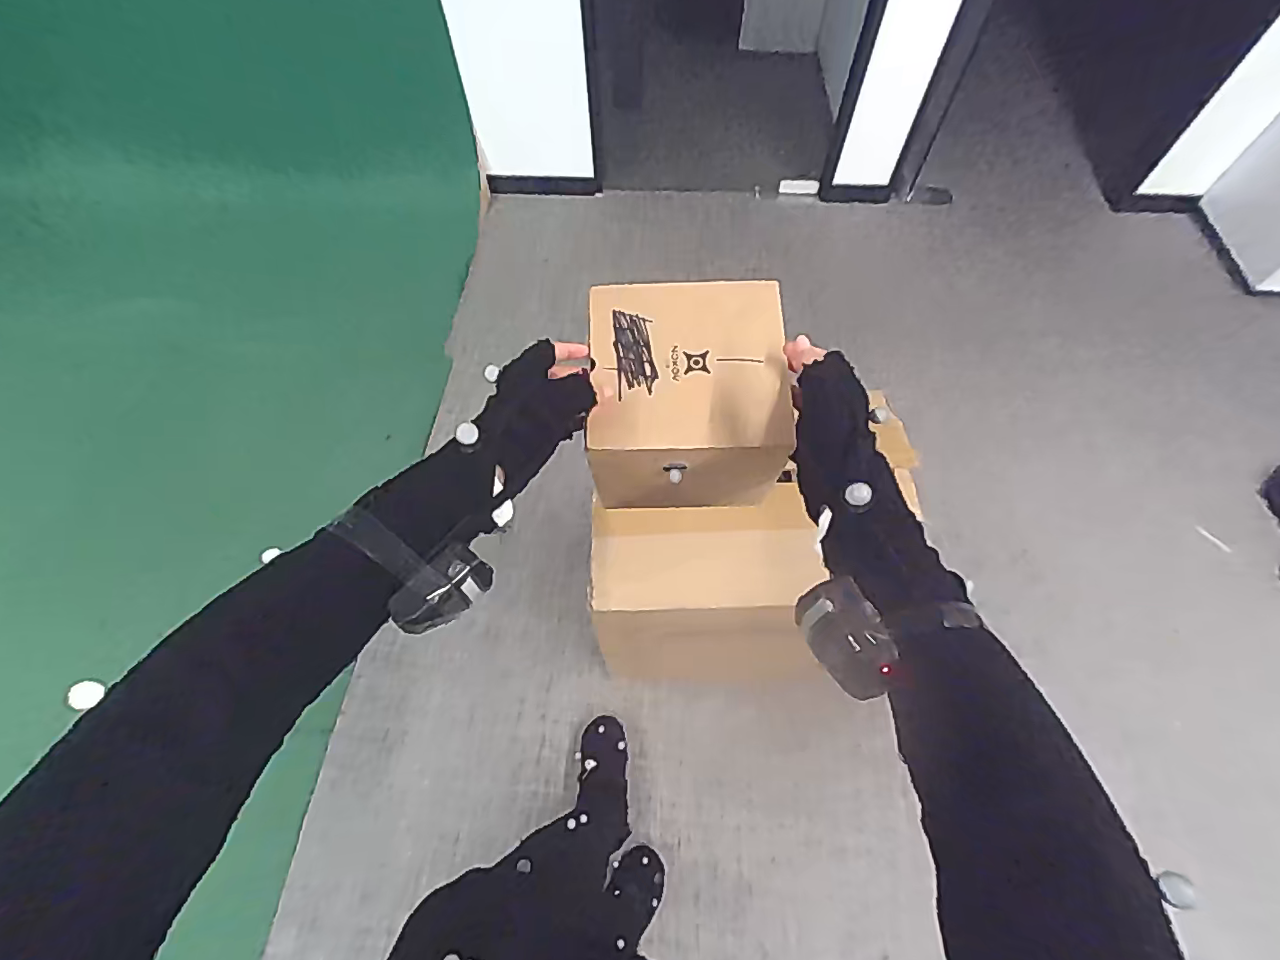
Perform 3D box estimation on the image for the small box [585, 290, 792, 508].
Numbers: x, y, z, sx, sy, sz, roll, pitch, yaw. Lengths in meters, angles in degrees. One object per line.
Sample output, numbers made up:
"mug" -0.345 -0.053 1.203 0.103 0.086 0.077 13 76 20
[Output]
"small box" 0.042 -0.071 0.552 0.179 0.176 0.168 -1 70 0
